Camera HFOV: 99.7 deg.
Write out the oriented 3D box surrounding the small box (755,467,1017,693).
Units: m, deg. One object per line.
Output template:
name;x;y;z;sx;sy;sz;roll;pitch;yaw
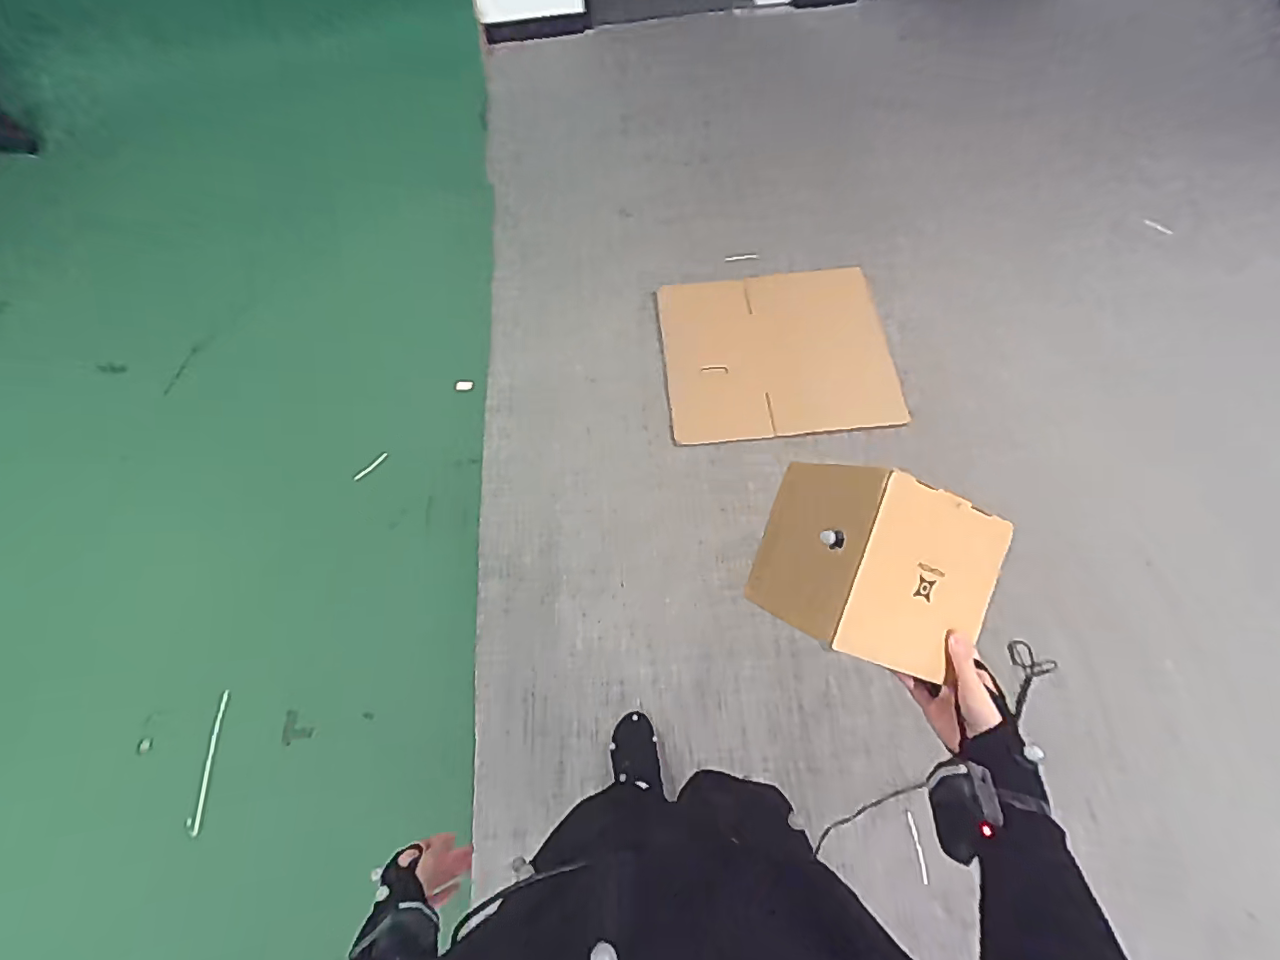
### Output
small box;0.248;0.095;0.583;0.168;0.176;0.179;22;86;-17
